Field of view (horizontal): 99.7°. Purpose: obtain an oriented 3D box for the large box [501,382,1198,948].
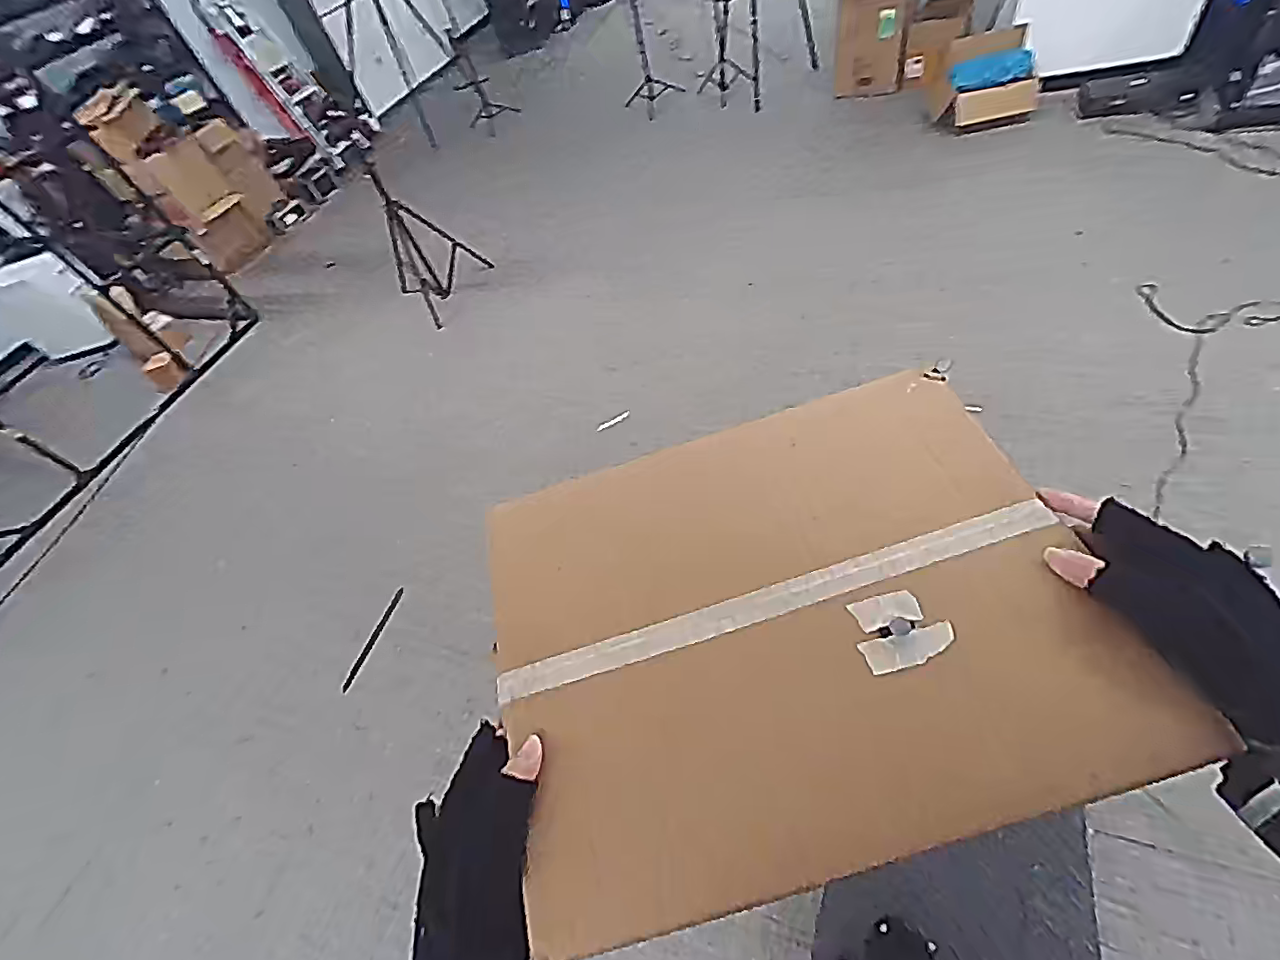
[{"bbox_3d":[0.126,0.173,0.519,0.408,0.320,0.320,-18,56,1],"label":"large box"}]
